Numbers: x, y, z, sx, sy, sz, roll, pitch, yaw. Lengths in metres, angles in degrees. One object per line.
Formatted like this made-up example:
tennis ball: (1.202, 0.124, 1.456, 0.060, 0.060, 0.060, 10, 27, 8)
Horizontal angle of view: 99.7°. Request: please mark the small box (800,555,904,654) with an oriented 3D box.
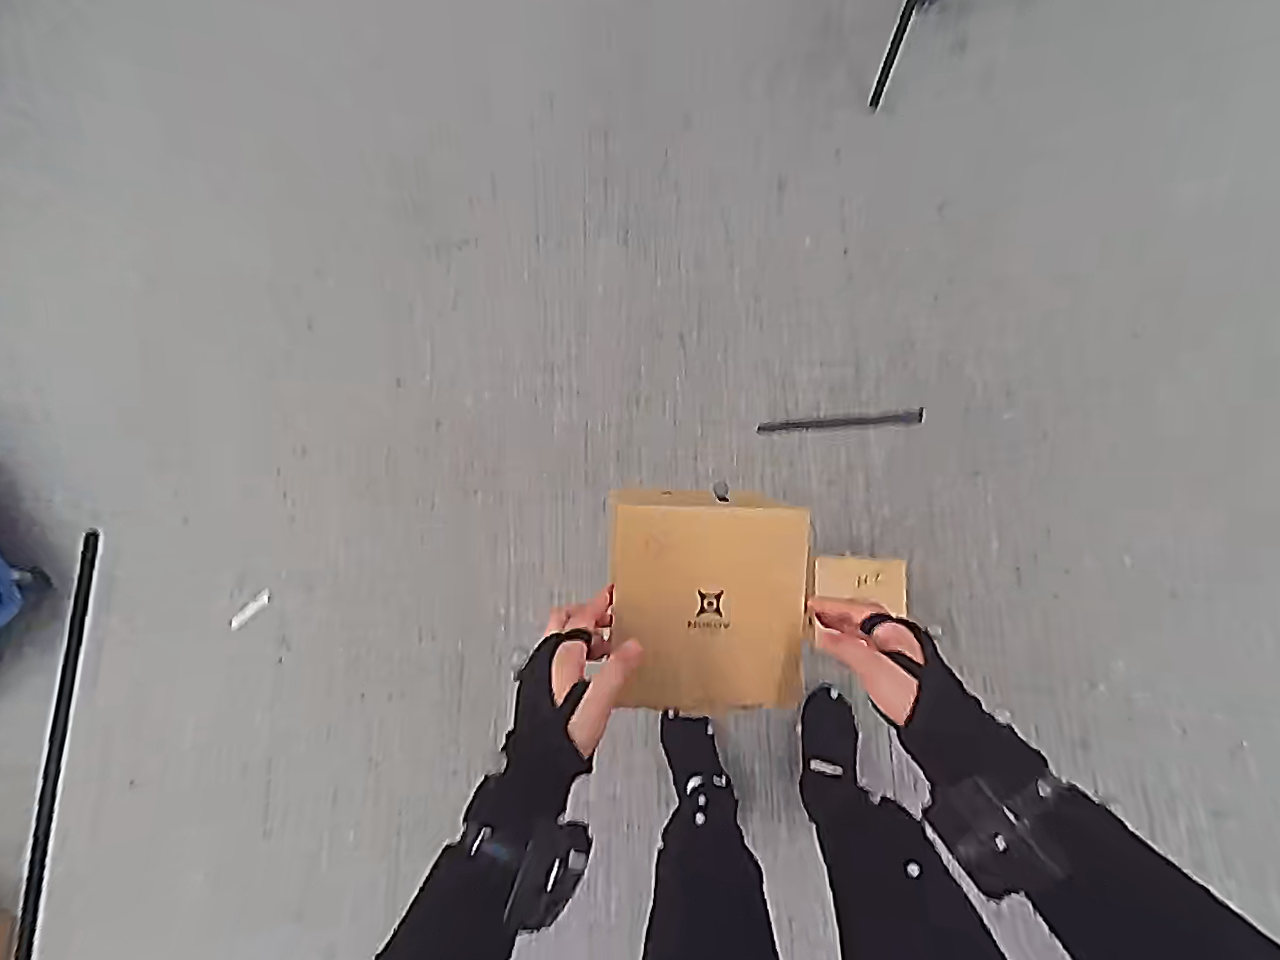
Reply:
small box: (0.422, 0.245, 1.096, 0.168, 0.176, 0.179, 2, 80, 8)
